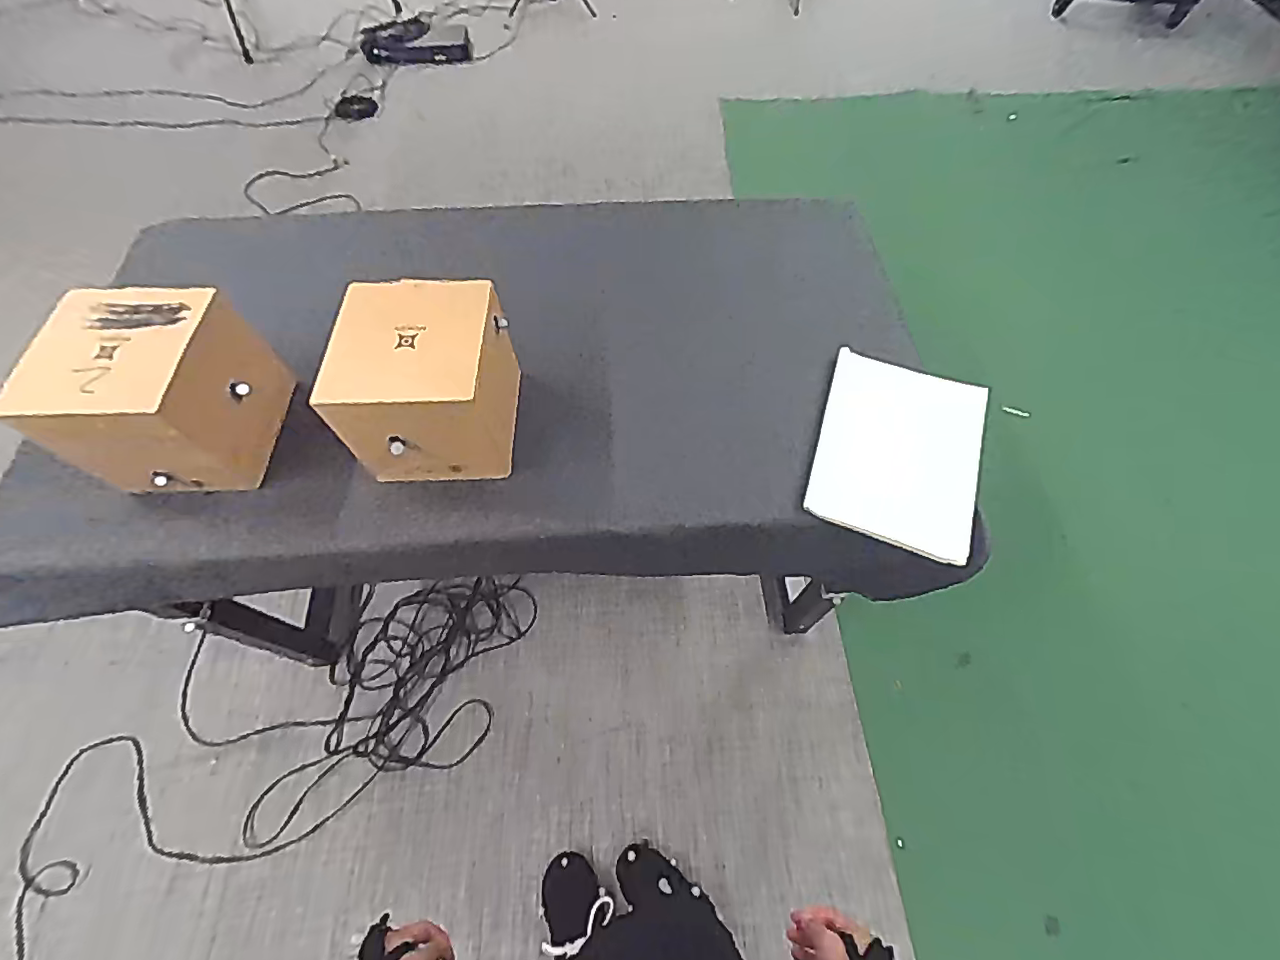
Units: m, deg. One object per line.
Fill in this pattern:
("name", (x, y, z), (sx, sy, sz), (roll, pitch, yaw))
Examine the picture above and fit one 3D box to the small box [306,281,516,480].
("small box", (-0.249, -0.108, 0.642), (0.168, 0.176, 0.179), (-2, 60, -1))
